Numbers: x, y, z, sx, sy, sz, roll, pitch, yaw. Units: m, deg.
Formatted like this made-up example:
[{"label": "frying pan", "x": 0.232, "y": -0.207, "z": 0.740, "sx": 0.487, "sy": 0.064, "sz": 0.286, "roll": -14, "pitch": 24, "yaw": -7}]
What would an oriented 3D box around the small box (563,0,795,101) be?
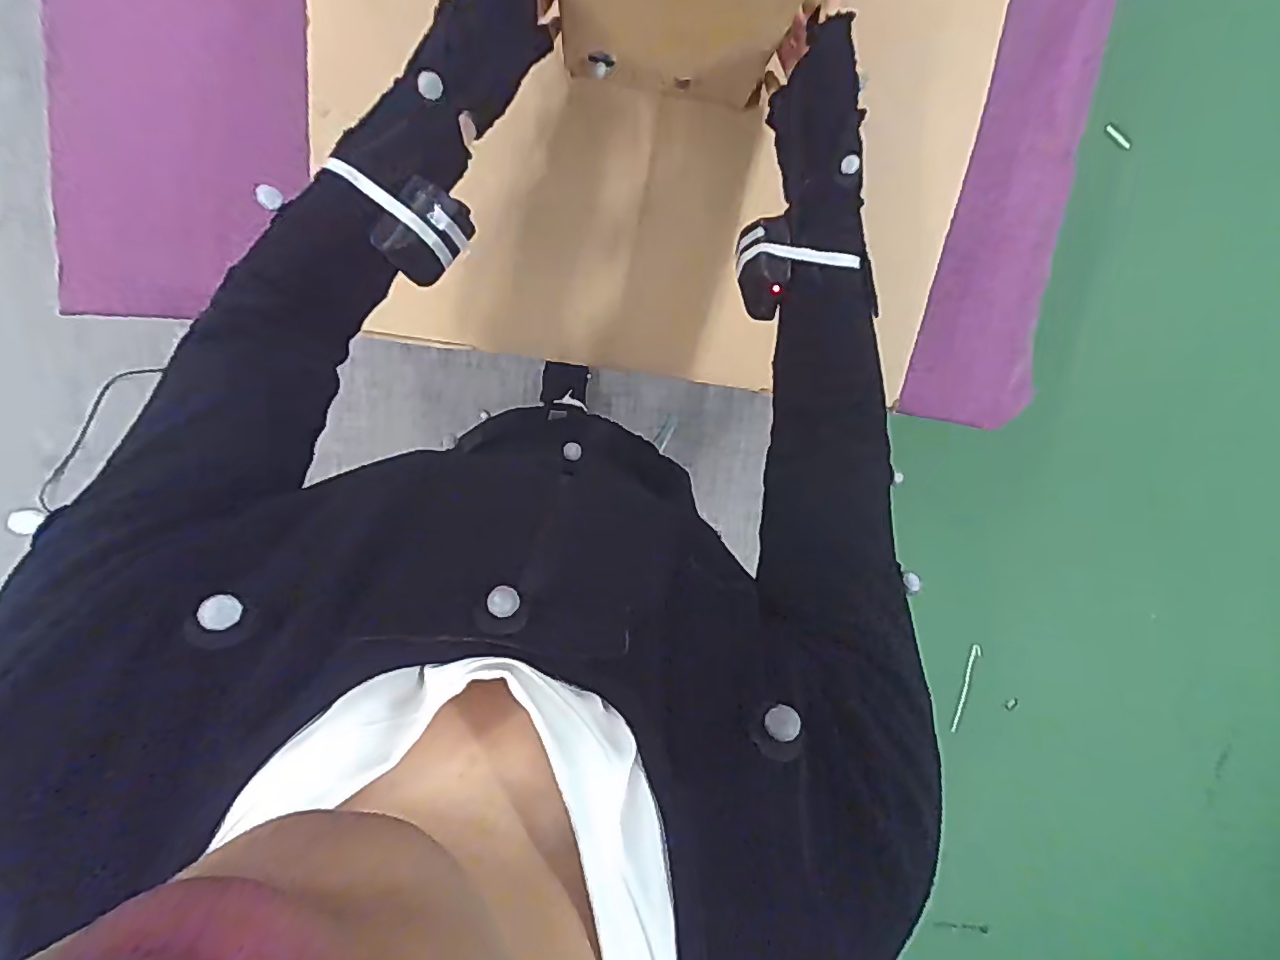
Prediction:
[{"label": "small box", "x": 0.036, "y": -0.417, "z": 0.391, "sx": 0.168, "sy": 0.176, "sz": 0.179, "roll": 8, "pitch": 100, "yaw": -7}]
